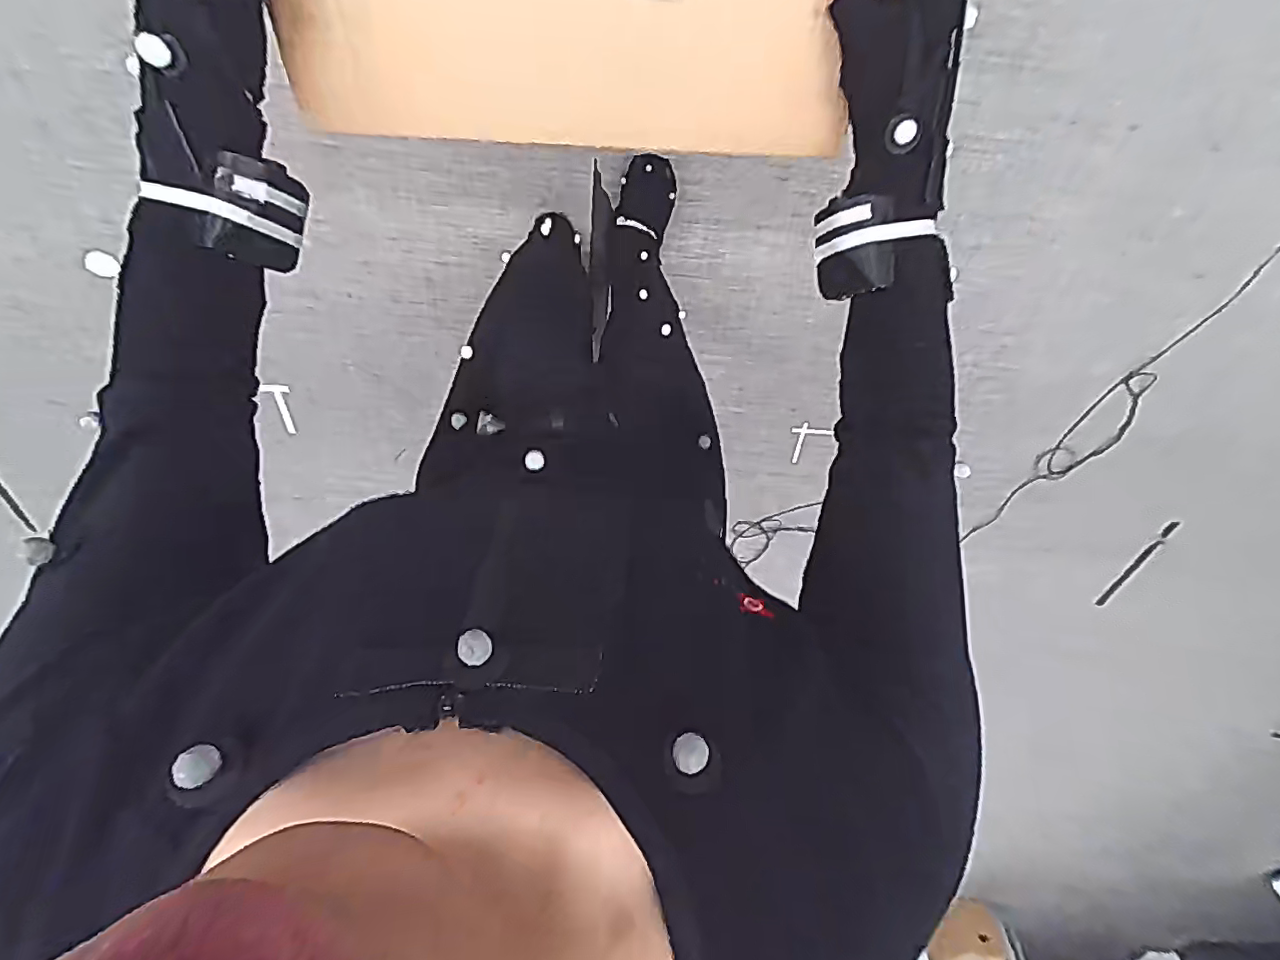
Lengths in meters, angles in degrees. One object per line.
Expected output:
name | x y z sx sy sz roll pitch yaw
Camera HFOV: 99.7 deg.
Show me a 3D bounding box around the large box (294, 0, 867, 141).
large box | -0.039 -0.481 0.444 0.408 0.320 0.320 2 129 -1
